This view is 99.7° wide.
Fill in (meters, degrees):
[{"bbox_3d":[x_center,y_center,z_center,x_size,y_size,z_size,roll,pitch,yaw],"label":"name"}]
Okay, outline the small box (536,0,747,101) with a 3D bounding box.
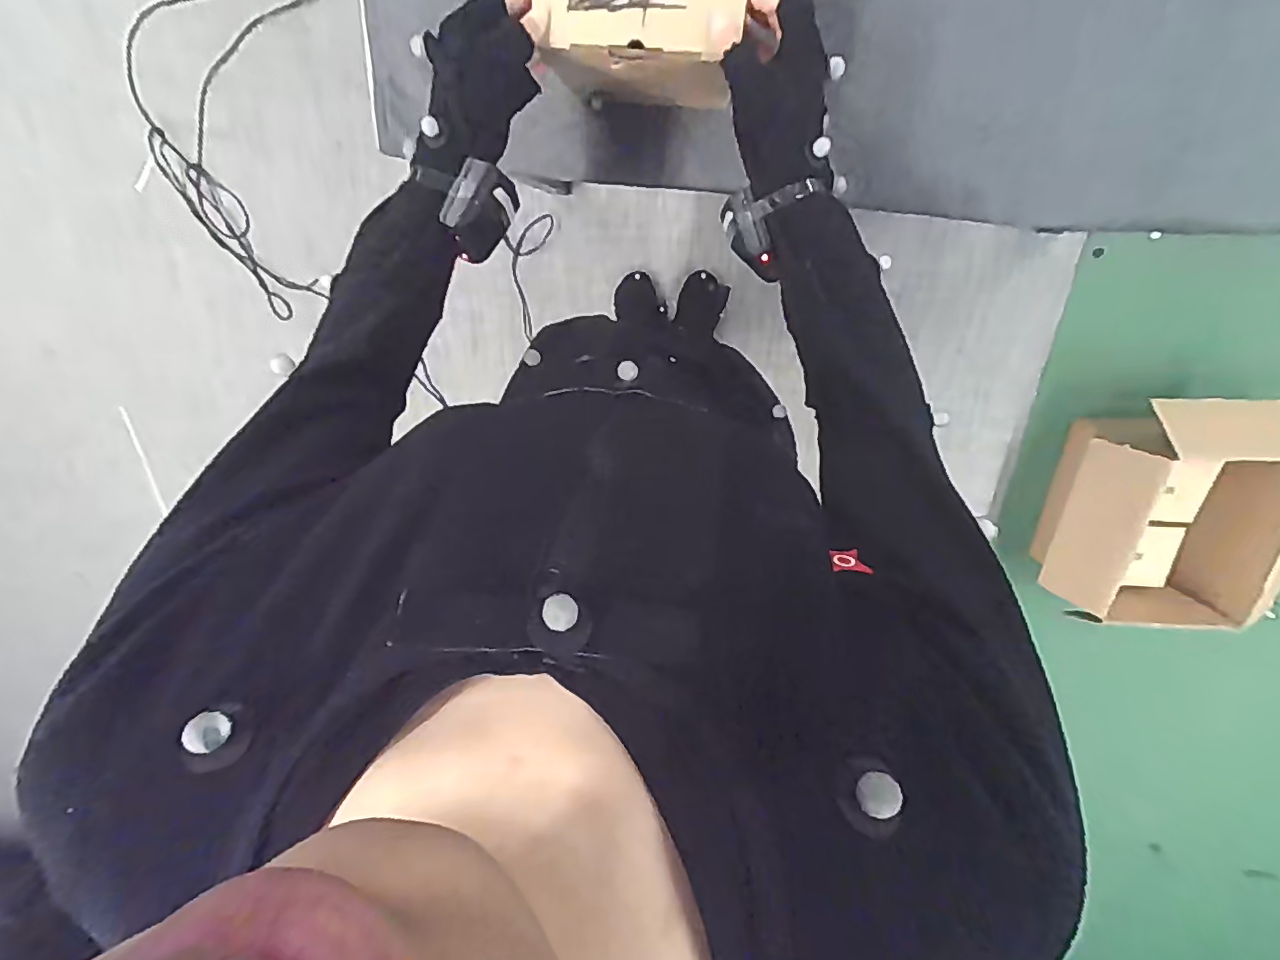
[{"bbox_3d":[0.013,-0.446,0.460,0.168,0.176,0.179,6,113,2],"label":"small box"}]
